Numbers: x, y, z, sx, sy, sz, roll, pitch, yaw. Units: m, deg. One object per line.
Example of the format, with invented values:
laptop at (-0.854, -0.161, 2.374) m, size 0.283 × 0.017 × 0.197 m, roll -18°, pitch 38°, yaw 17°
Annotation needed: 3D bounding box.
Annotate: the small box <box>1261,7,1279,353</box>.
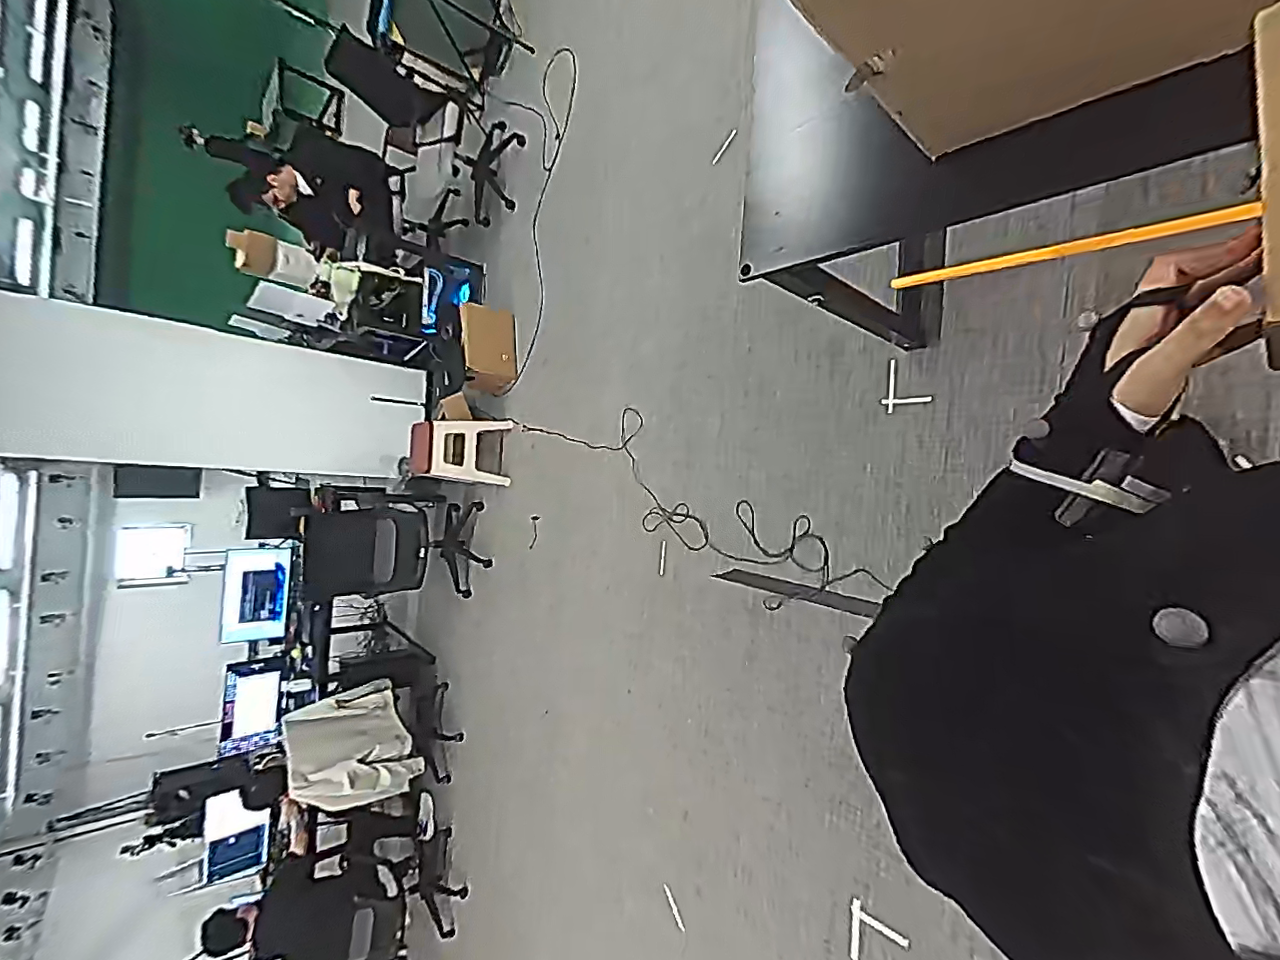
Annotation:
small box at (0.449, -0.166, 0.280) m, size 0.168 × 0.176 × 0.179 m, roll -3°, pitch 86°, yaw 51°
